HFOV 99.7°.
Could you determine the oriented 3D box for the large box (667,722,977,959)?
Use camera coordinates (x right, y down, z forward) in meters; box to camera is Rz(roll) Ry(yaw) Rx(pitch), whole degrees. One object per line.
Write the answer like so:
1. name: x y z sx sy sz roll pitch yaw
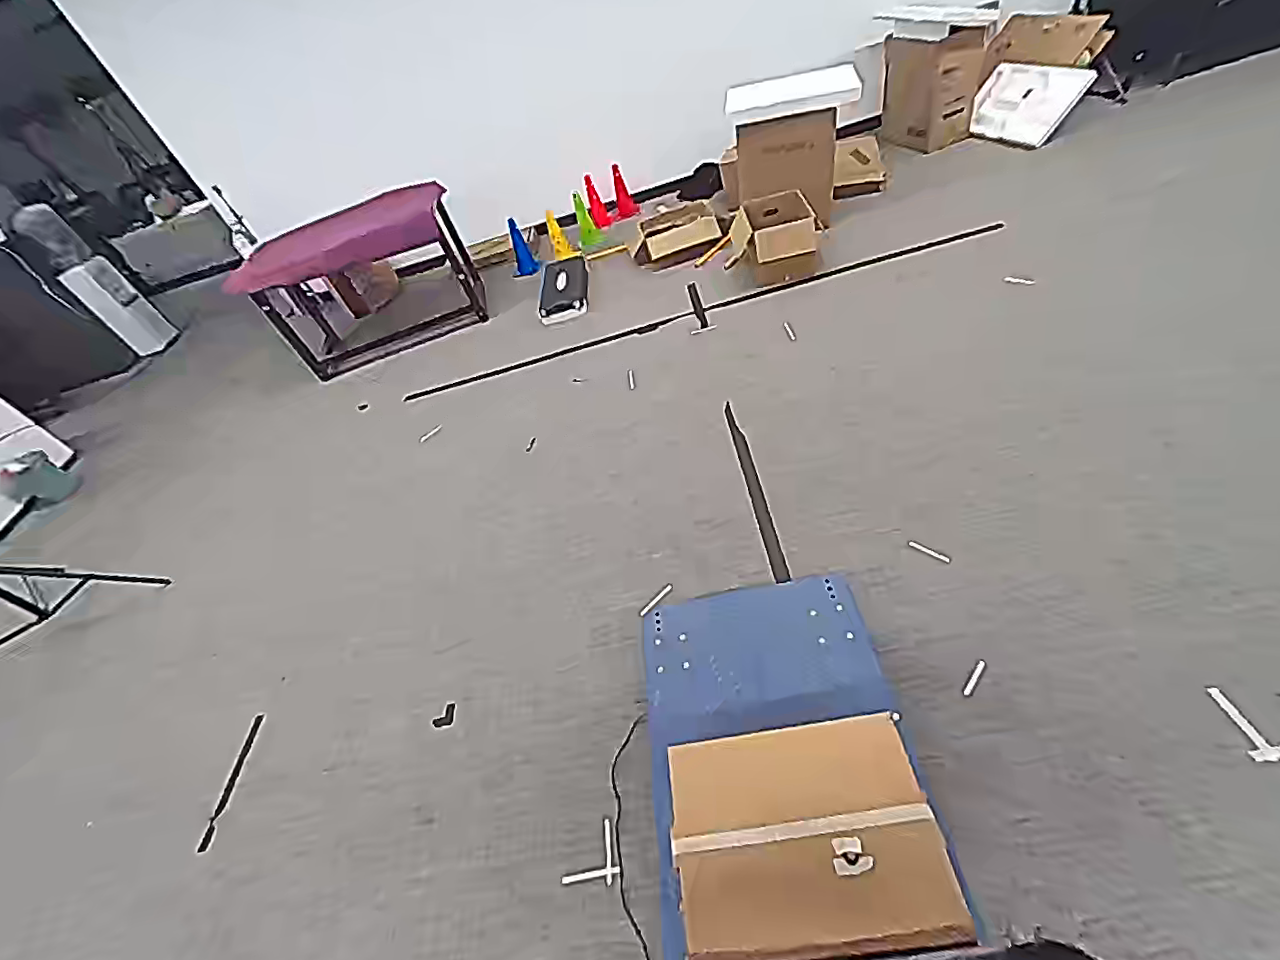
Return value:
1. large box: 0.286 0.674 0.953 0.408 0.320 0.320 -13 44 7
